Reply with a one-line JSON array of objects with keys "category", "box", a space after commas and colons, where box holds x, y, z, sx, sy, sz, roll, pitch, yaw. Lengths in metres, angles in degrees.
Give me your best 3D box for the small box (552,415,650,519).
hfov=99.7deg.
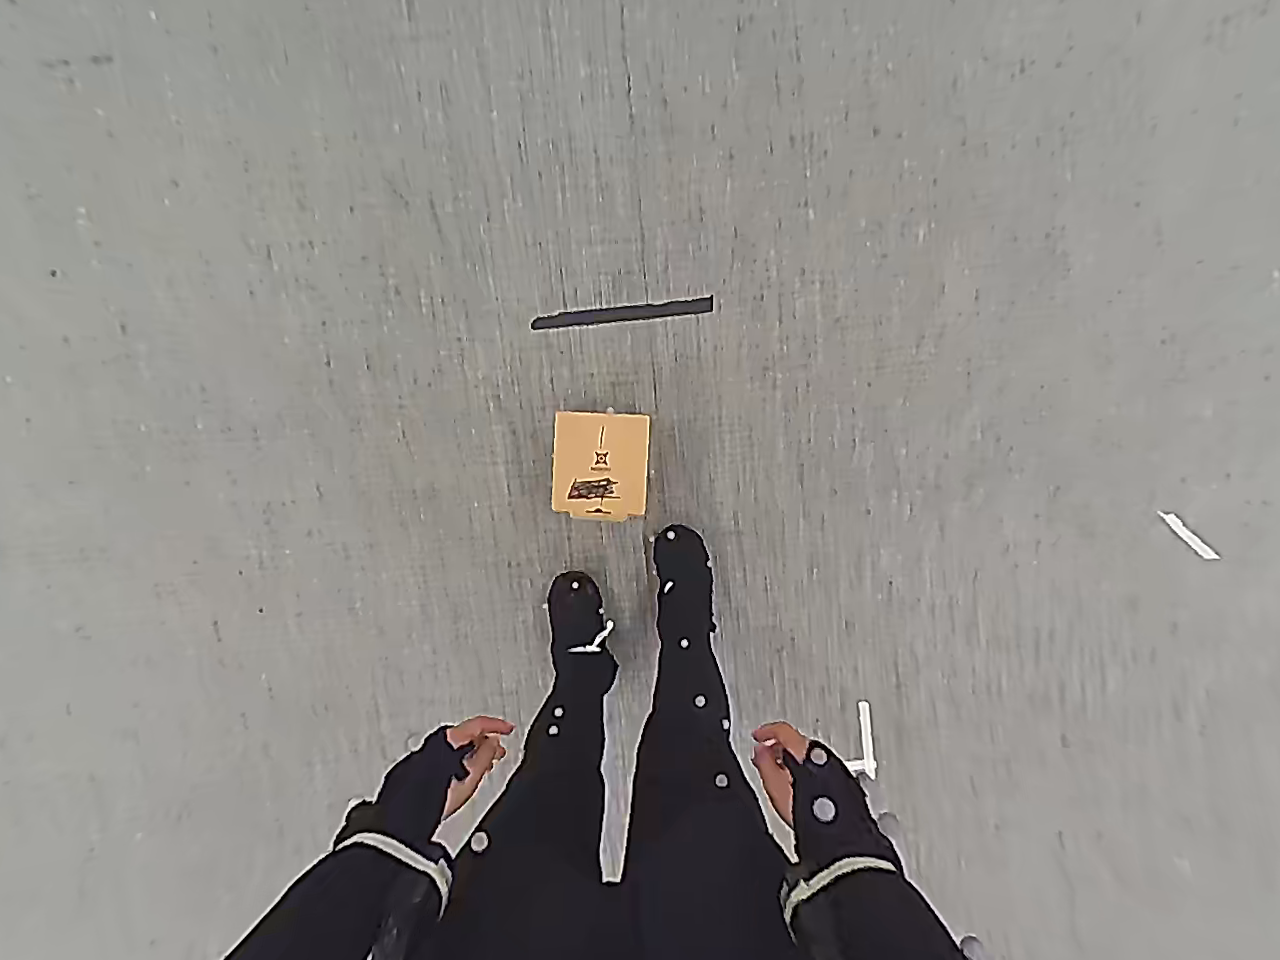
[{"category": "small box", "box": [-0.067, -0.027, 1.015, 0.168, 0.176, 0.179, 3, 94, -1]}]
